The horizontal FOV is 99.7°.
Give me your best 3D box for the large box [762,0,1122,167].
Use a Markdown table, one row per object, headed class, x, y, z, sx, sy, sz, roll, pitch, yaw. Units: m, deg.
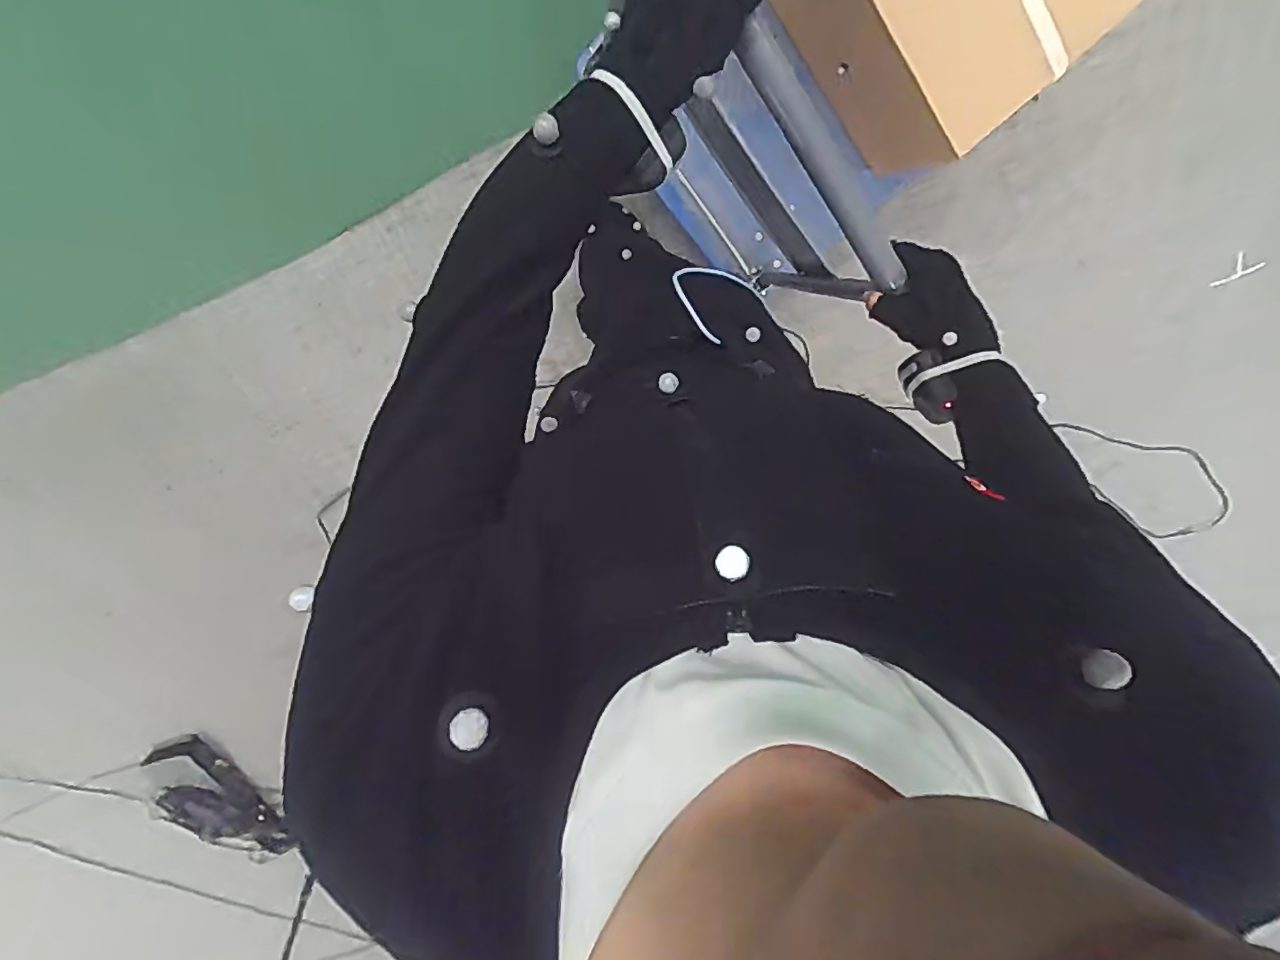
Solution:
| class | x | y | z | sx | sy | sz | roll | pitch | yaw |
| --- | --- | --- | --- | --- | --- | --- | --- | --- | --- |
| large box | 0.443 | -0.780 | 0.844 | 0.320 | 0.320 | 0.408 | -40 | 110 | 15 |
